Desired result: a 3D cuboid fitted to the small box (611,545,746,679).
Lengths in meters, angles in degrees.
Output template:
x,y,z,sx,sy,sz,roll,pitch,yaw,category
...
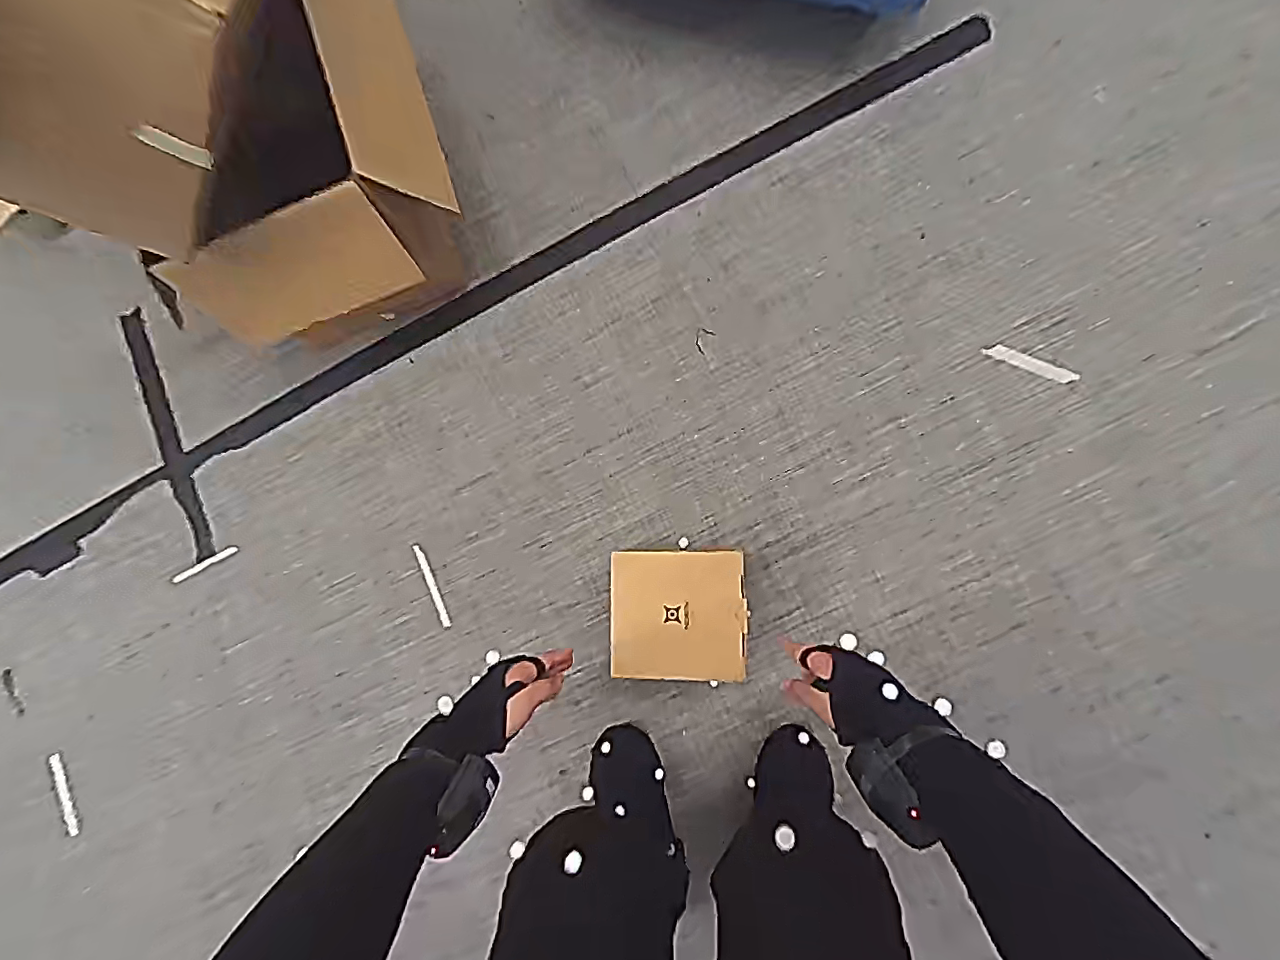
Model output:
x,y,z,sx,sy,sz,roll,pitch,yaw,category
0.060,0.179,0.777,0.179,0.176,0.168,-1,84,8,small box
